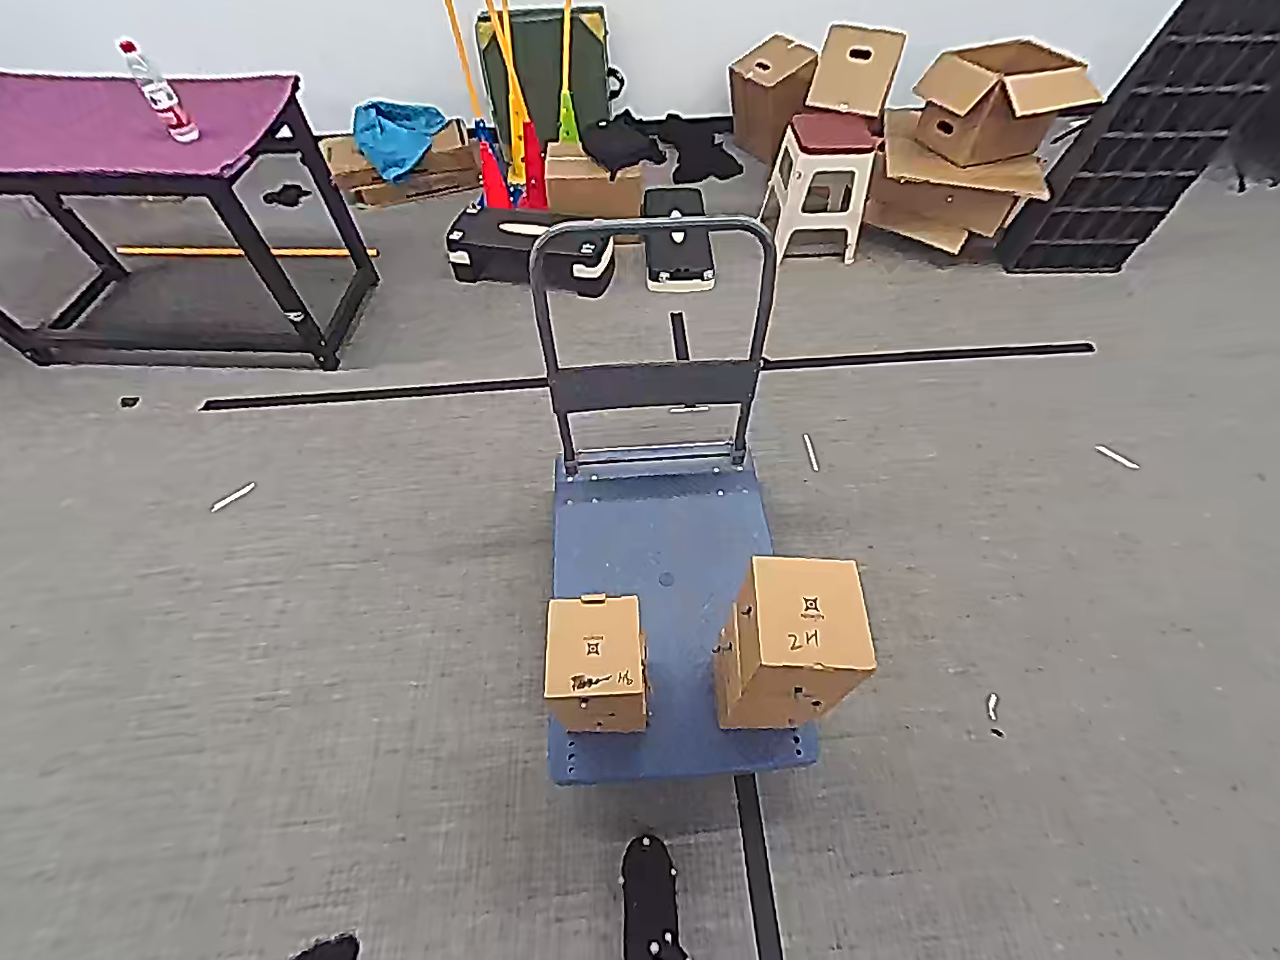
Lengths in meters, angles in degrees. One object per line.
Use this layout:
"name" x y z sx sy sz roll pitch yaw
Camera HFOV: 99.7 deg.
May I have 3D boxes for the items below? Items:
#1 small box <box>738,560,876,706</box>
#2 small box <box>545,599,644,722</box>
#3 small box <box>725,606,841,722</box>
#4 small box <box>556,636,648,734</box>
"small box" 0.254 0.248 0.870 0.168 0.176 0.179 3 55 2
"small box" -0.078 0.338 1.007 0.168 0.176 0.179 -2 54 -1
"small box" 0.253 0.345 1.004 0.179 0.176 0.168 2 55 0
"small box" -0.073 0.433 1.141 0.179 0.176 0.168 0 55 1
